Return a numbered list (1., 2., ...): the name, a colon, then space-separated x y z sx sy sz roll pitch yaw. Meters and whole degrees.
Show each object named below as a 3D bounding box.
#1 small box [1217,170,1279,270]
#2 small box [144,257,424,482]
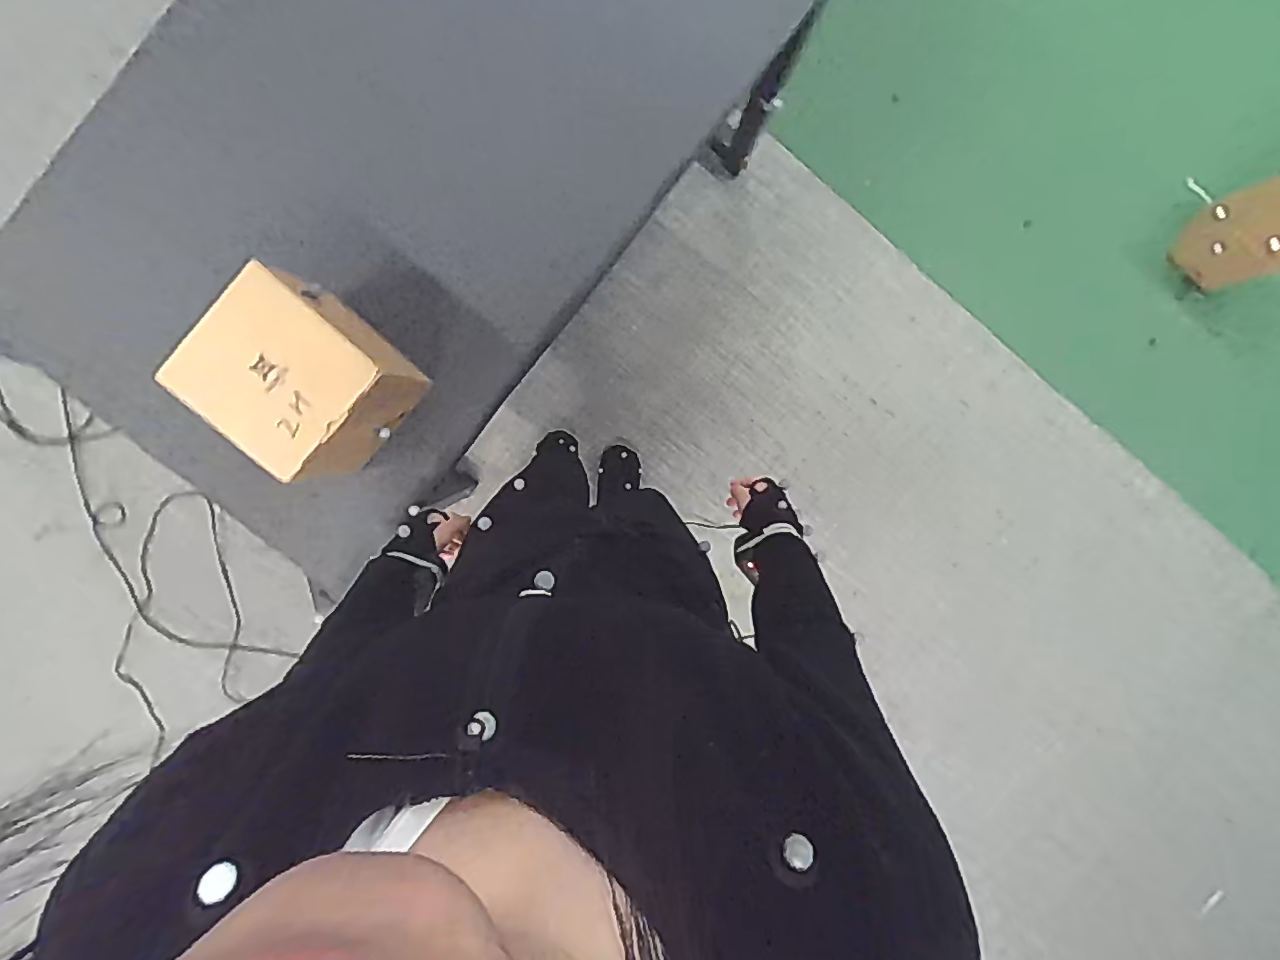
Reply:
1. small box: 1.566 -0.640 1.293 0.168 0.176 0.179 37 92 -7
2. small box: -0.395 -0.118 0.636 0.179 0.176 0.168 41 92 -7
